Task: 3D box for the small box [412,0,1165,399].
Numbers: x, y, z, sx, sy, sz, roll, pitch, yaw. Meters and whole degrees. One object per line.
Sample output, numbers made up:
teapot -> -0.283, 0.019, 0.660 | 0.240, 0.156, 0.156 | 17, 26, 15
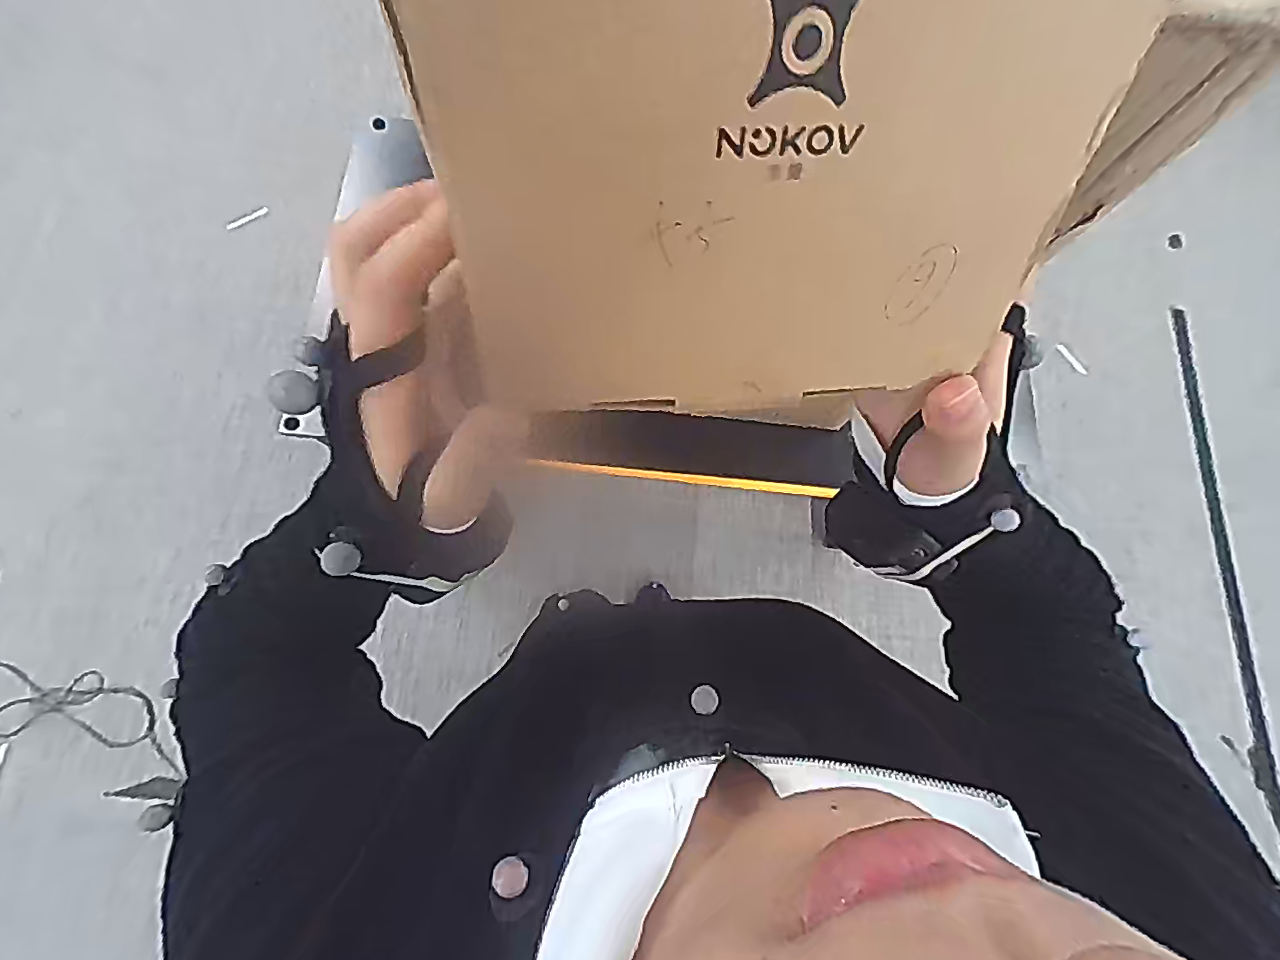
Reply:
small box -> 0.026, -0.148, 0.183 | 0.168, 0.179, 0.176 | -4, 45, -6
